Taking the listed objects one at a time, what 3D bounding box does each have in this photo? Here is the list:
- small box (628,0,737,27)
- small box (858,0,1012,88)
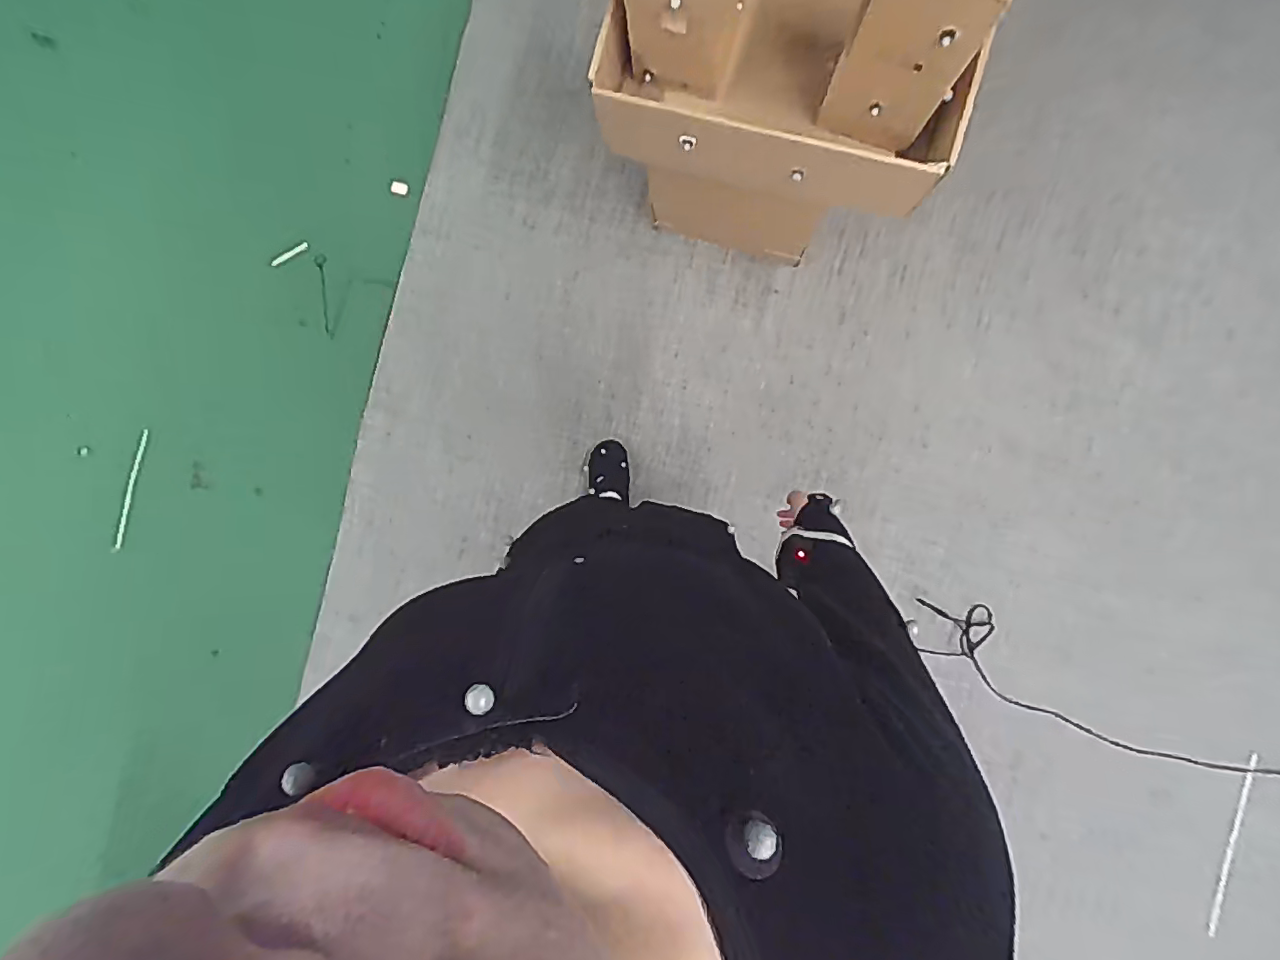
[{"bbox_3d":[0.077,-0.808,0.778,0.179,0.176,0.168,15,90,4],"label":"small box"},{"bbox_3d":[0.426,-0.699,0.749,0.168,0.176,0.179,22,90,3],"label":"small box"}]
